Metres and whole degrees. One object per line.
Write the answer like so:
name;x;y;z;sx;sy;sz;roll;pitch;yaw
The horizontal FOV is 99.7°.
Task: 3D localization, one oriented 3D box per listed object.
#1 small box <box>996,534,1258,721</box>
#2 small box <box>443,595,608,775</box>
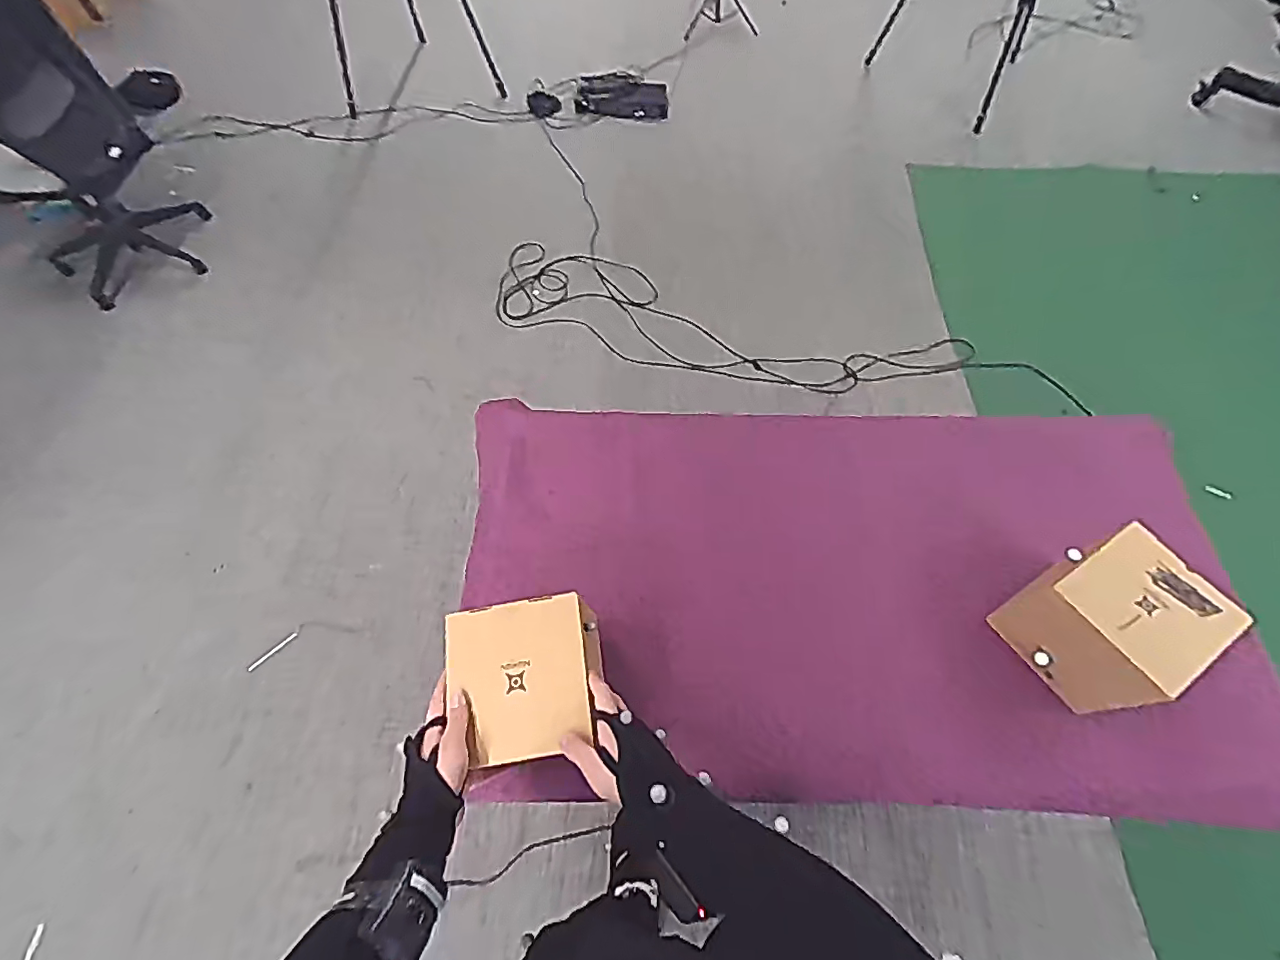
small box;0.648;0.208;0.747;0.179;0.176;0.168;-29;64;-14
small box;-0.139;0.261;0.692;0.168;0.176;0.179;-10;65;0
